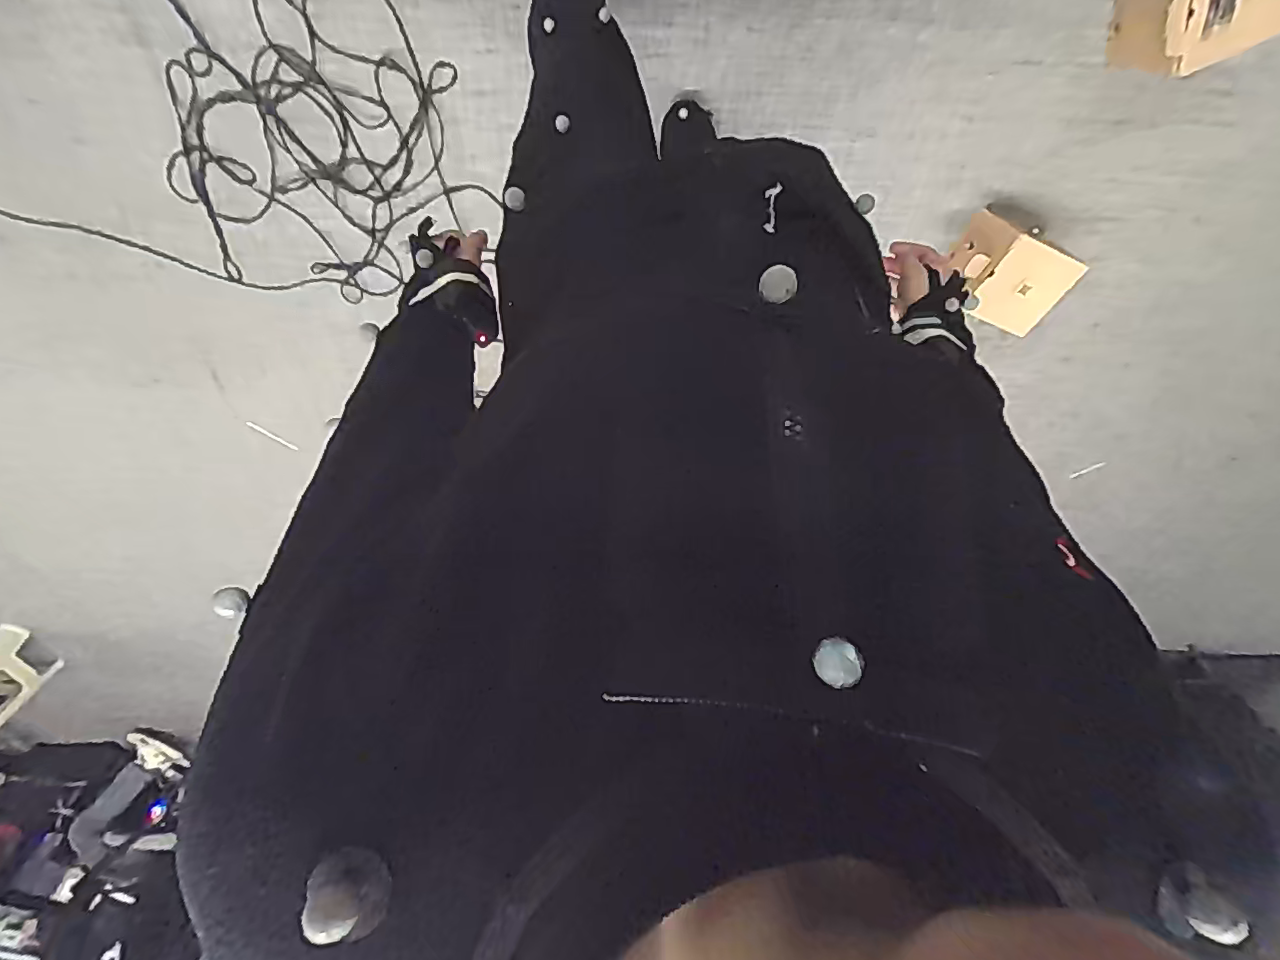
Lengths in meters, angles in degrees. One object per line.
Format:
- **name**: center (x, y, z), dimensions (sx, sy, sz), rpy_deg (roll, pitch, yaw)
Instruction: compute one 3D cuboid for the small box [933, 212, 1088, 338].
- **small box**: center (0.767, -0.435, 1.139), dimensions (0.179, 0.176, 0.168), rpy_deg (16, 131, -14)
